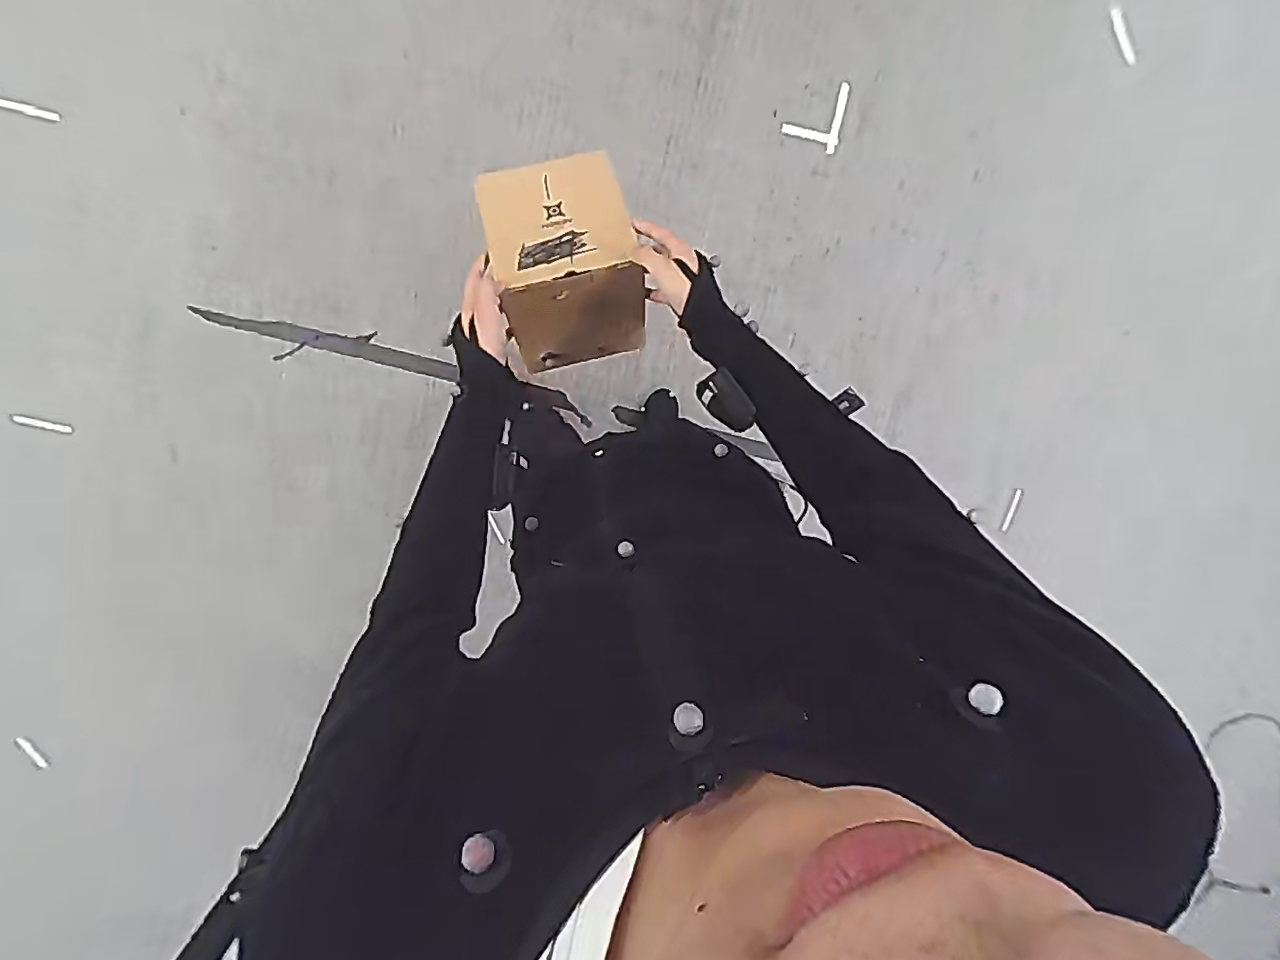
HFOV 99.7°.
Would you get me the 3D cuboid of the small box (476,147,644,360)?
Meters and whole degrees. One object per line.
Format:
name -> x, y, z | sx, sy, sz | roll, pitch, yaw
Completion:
small box -> -0.091, -0.272, 0.684 | 0.168, 0.176, 0.179 | -14, 70, -5
